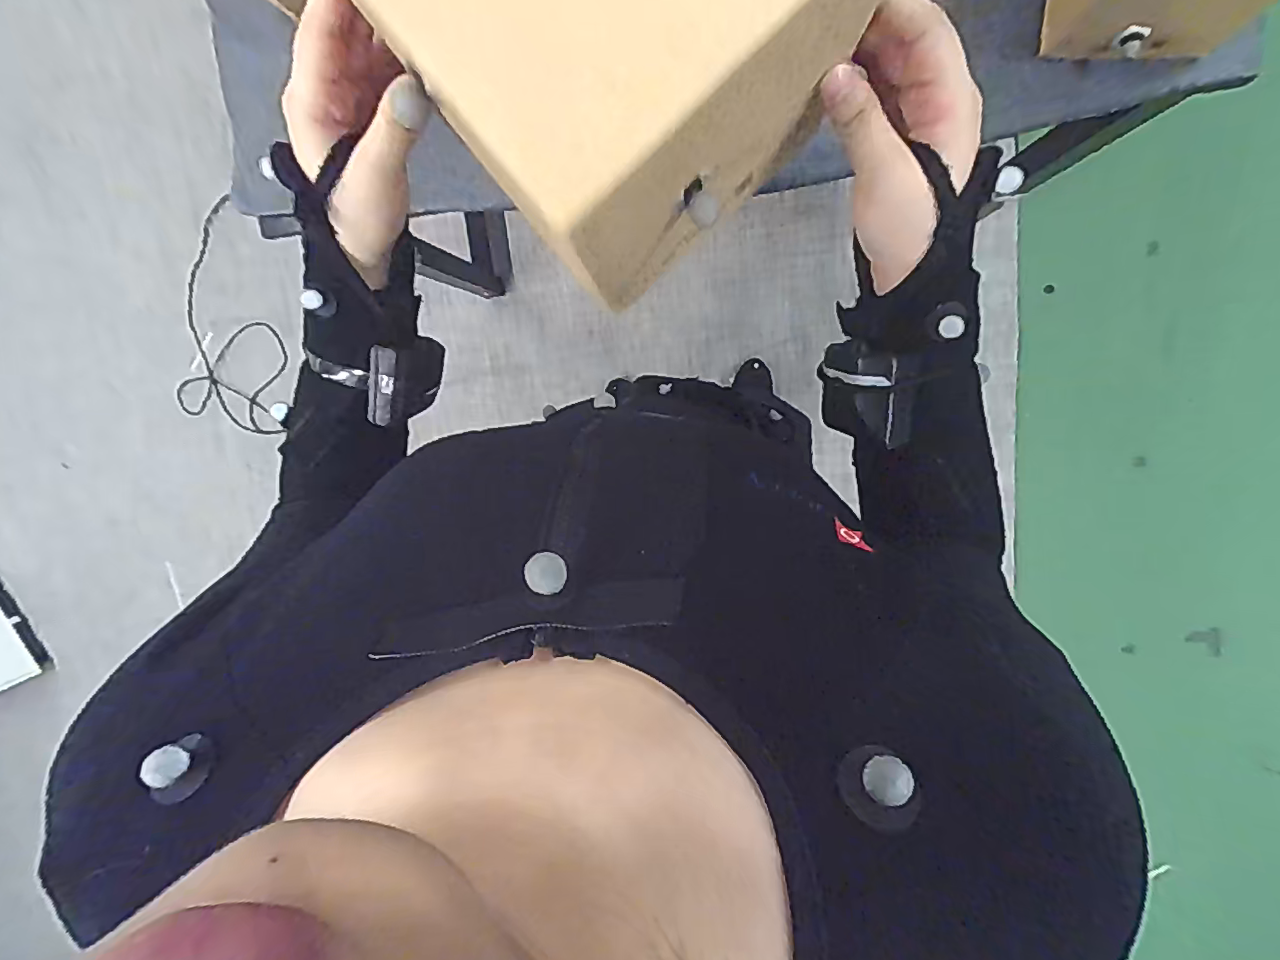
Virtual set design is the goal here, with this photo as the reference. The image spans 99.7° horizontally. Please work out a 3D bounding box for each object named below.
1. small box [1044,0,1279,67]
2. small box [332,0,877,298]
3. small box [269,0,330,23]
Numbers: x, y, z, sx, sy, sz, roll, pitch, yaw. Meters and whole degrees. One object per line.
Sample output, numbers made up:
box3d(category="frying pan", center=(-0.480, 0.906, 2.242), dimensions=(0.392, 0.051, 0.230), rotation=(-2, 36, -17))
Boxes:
box3d(category="small box", center=(0.512, -0.524, 0.494), dimensions=(0.168, 0.176, 0.179), rotation=(5, 98, 8))
box3d(category="small box", center=(-0.015, -0.206, 0.252), dimensions=(0.168, 0.176, 0.179), rotation=(-41, 94, 10))
box3d(category="small box", center=(-0.451, -0.673, 0.599), dimensions=(0.179, 0.176, 0.168), rotation=(35, 103, 0))
